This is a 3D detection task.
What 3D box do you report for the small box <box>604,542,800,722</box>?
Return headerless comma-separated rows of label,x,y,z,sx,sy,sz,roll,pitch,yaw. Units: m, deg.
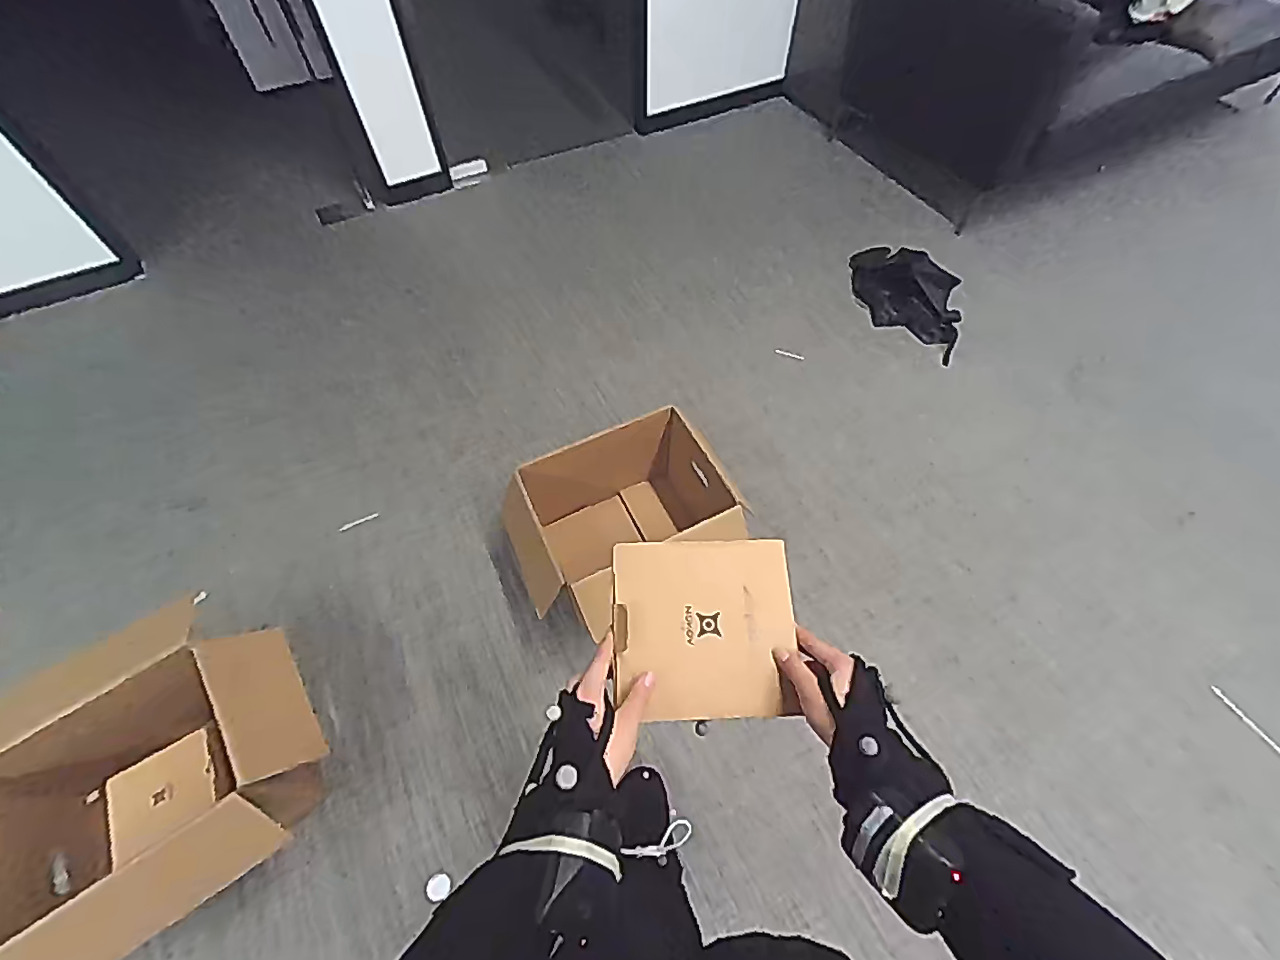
small box,0.051,0.168,0.580,0.179,0.176,0.168,0,68,-4
